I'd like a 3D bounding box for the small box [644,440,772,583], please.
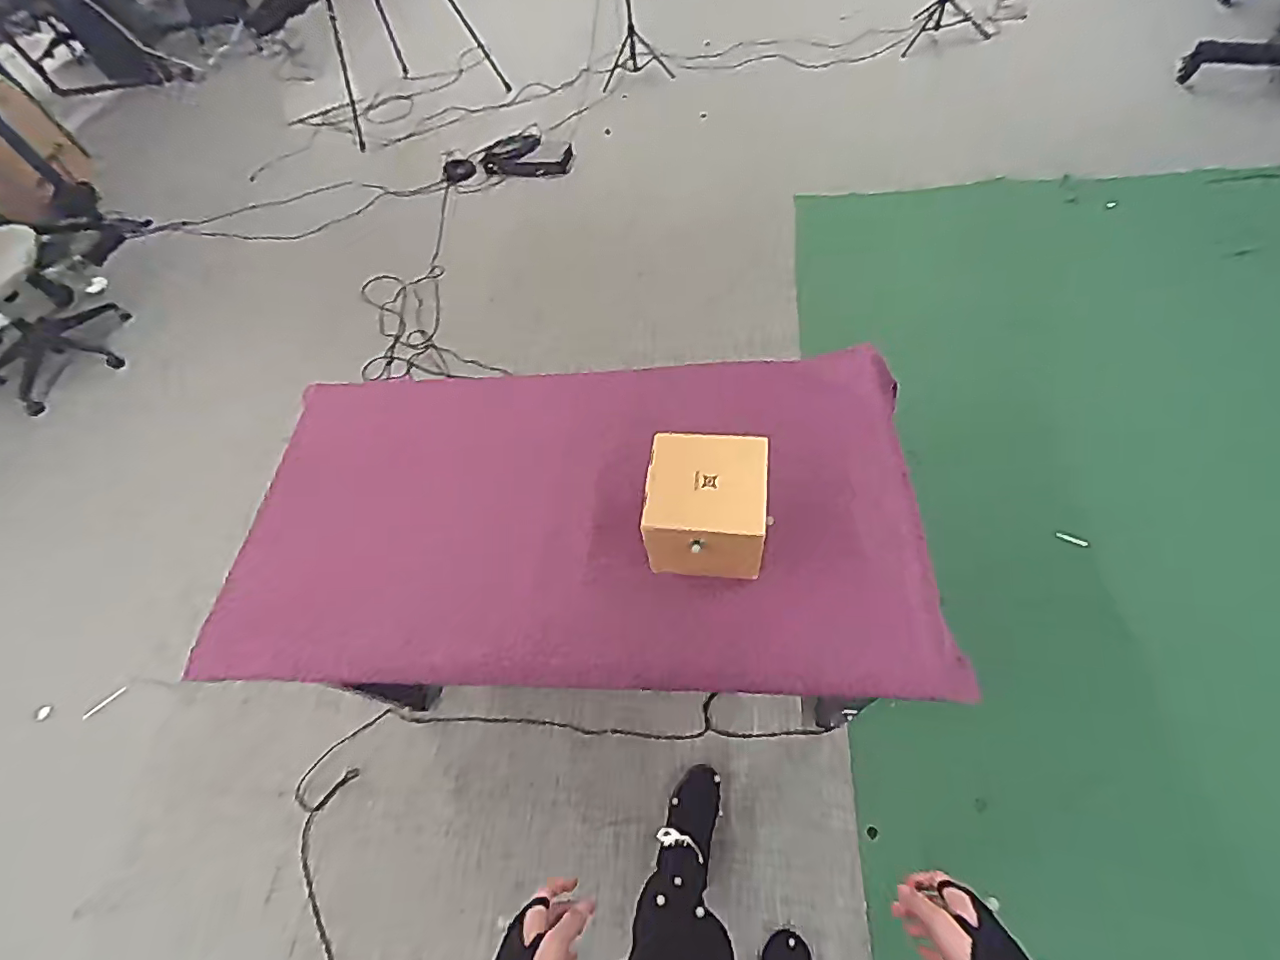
[{"bbox_3d":[0.112,0.054,0.857,0.179,0.176,0.168,3,59,11],"label":"small box"}]
